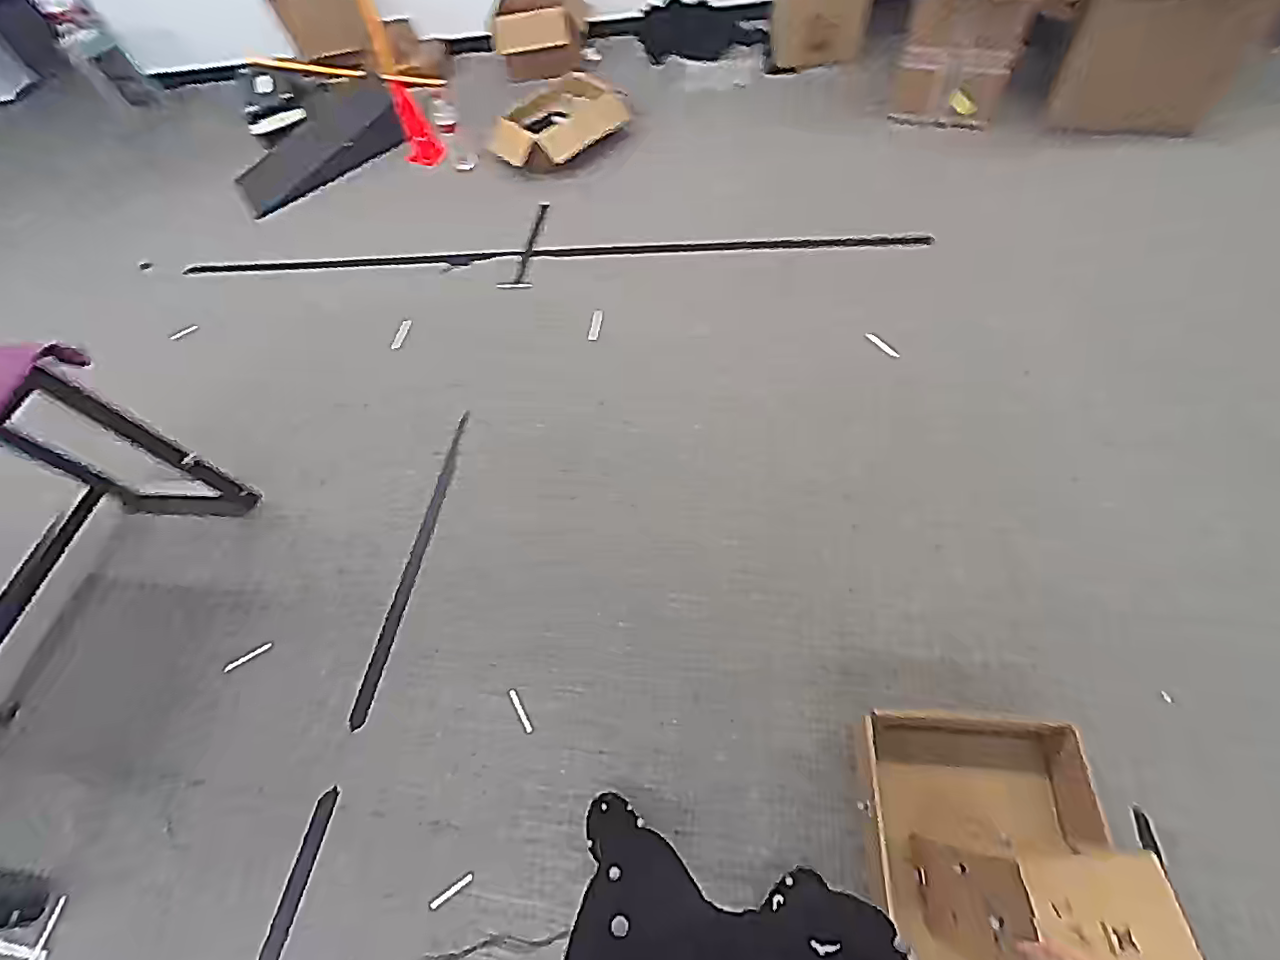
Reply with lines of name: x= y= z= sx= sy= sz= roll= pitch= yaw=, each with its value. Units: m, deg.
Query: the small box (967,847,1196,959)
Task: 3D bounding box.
small box: x=0.587 y=0.603 z=0.729 sx=0.179 sy=0.176 sz=0.168 roll=-6 pitch=58 yaw=5

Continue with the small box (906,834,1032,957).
small box: x=0.628 y=0.767 z=1.012 sx=0.179 sy=0.176 sz=0.168 roll=-5 pitch=59 yaw=7
